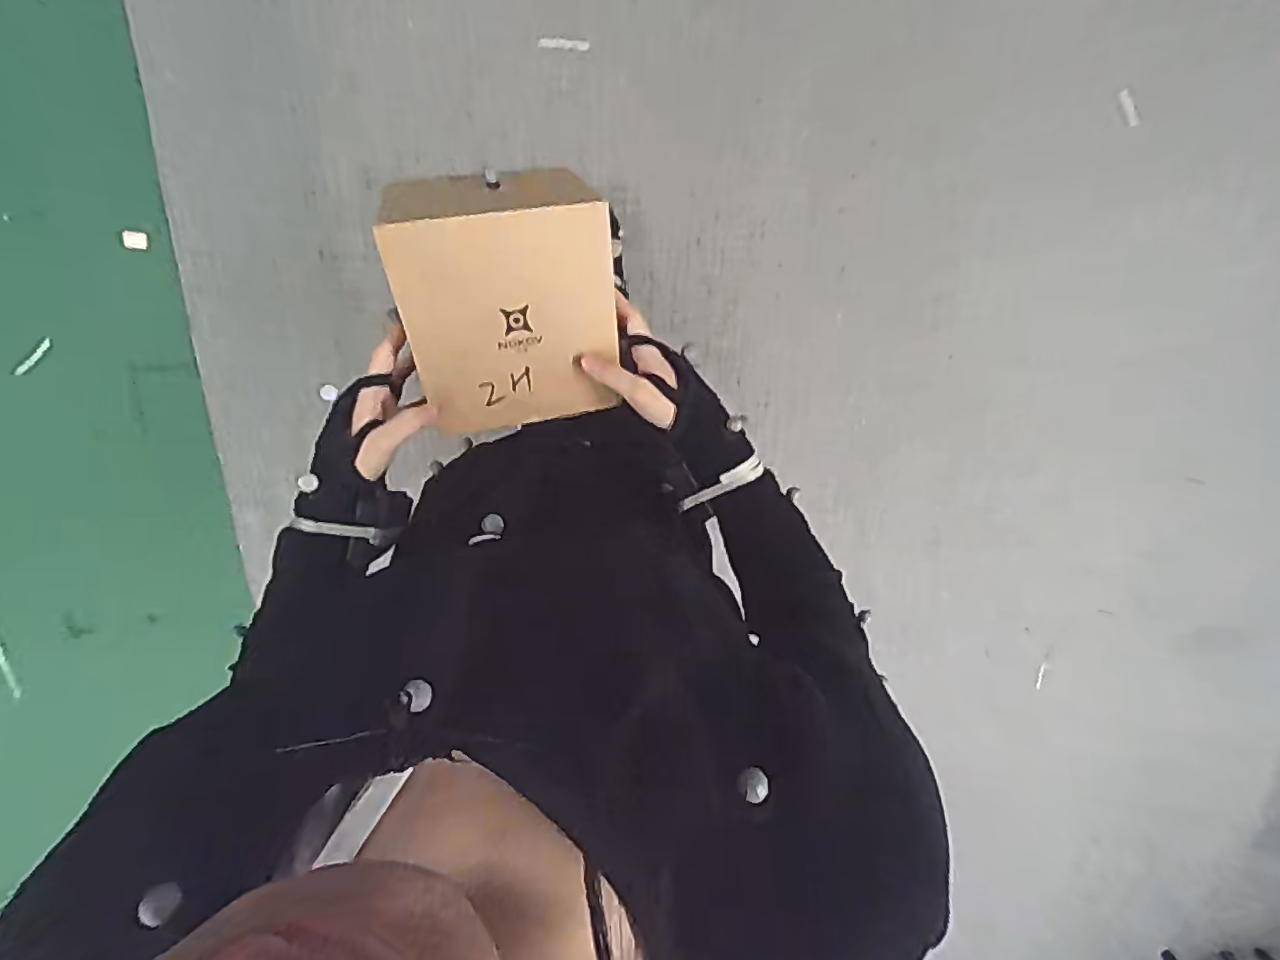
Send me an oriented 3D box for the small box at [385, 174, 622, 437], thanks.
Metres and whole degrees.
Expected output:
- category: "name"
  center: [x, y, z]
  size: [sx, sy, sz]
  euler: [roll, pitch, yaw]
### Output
- category: "small box"
  center: [-0.120, -0.169, 0.495]
  size: [0.168, 0.176, 0.179]
  euler: [-12, 131, -12]
